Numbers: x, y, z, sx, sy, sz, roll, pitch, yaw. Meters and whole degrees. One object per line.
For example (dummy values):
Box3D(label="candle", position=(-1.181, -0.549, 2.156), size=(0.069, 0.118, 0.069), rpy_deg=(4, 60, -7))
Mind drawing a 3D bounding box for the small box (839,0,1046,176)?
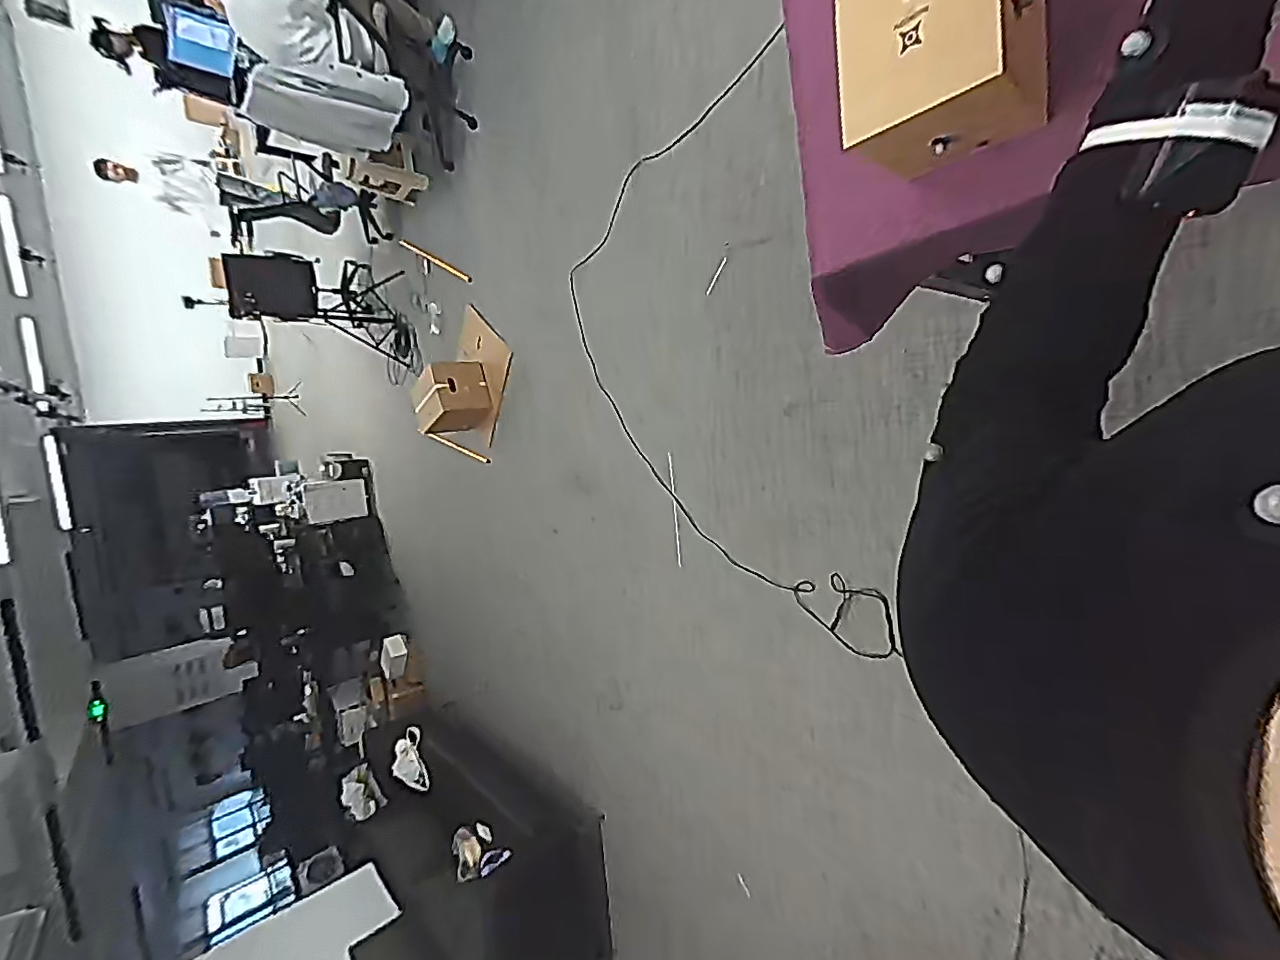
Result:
Box3D(label="small box", position=(0.354, -0.480, 0.629), size=(0.168, 0.176, 0.179), rpy_deg=(1, 98, 49))
